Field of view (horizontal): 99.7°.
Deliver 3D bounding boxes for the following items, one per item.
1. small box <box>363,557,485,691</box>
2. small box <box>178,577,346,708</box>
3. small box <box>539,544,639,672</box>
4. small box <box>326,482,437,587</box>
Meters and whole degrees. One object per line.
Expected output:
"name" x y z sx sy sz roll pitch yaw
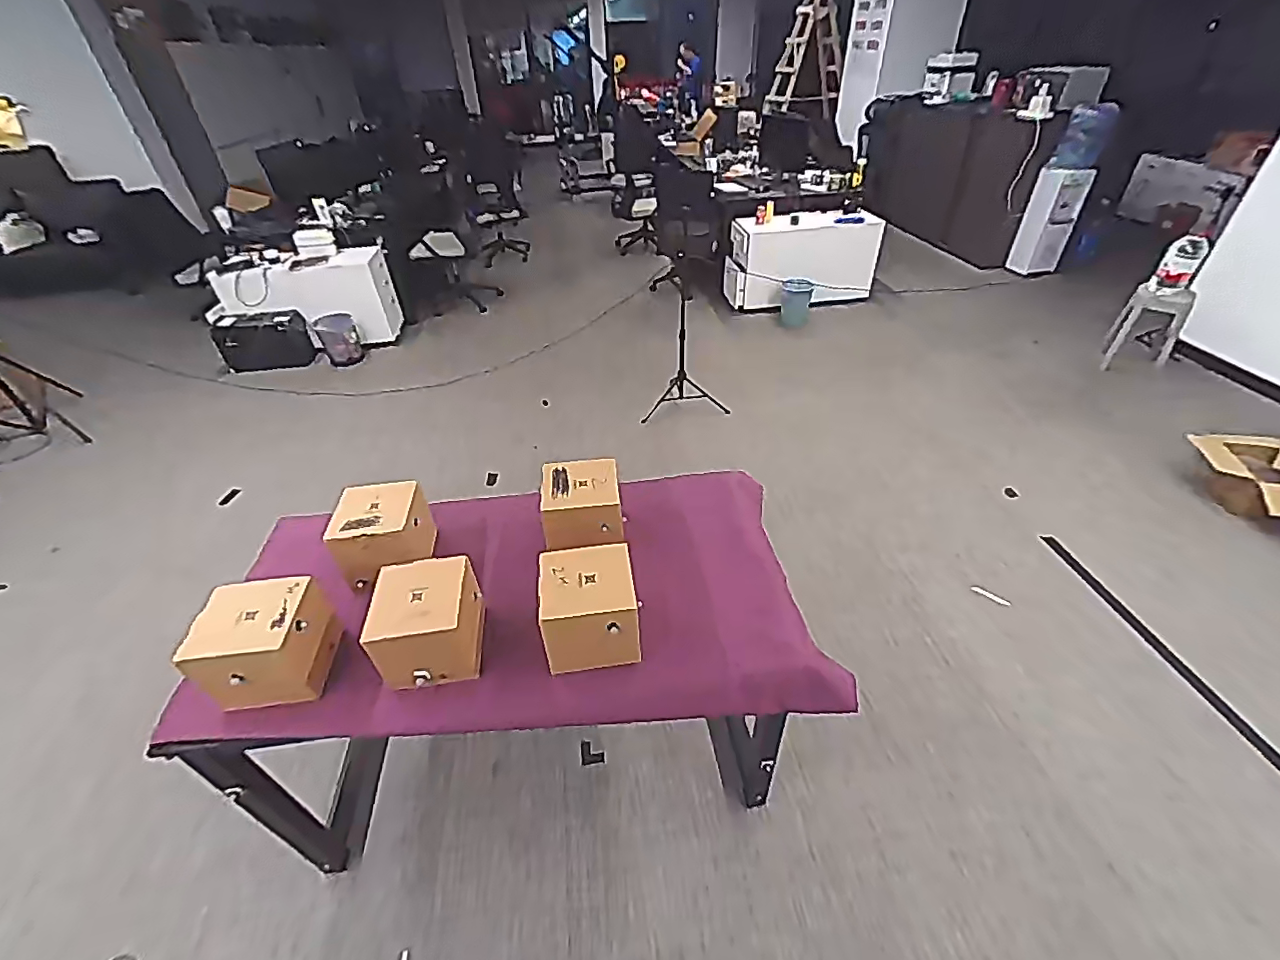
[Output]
"small box" -0.403 0.277 1.047 0.168 0.176 0.179 -7 41 -4
"small box" -0.697 0.309 1.022 0.179 0.176 0.168 -6 40 -4
"small box" -0.096 0.250 1.056 0.179 0.176 0.168 -7 39 -4
"small box" -0.579 0.130 1.239 0.168 0.176 0.179 -6 39 -5
